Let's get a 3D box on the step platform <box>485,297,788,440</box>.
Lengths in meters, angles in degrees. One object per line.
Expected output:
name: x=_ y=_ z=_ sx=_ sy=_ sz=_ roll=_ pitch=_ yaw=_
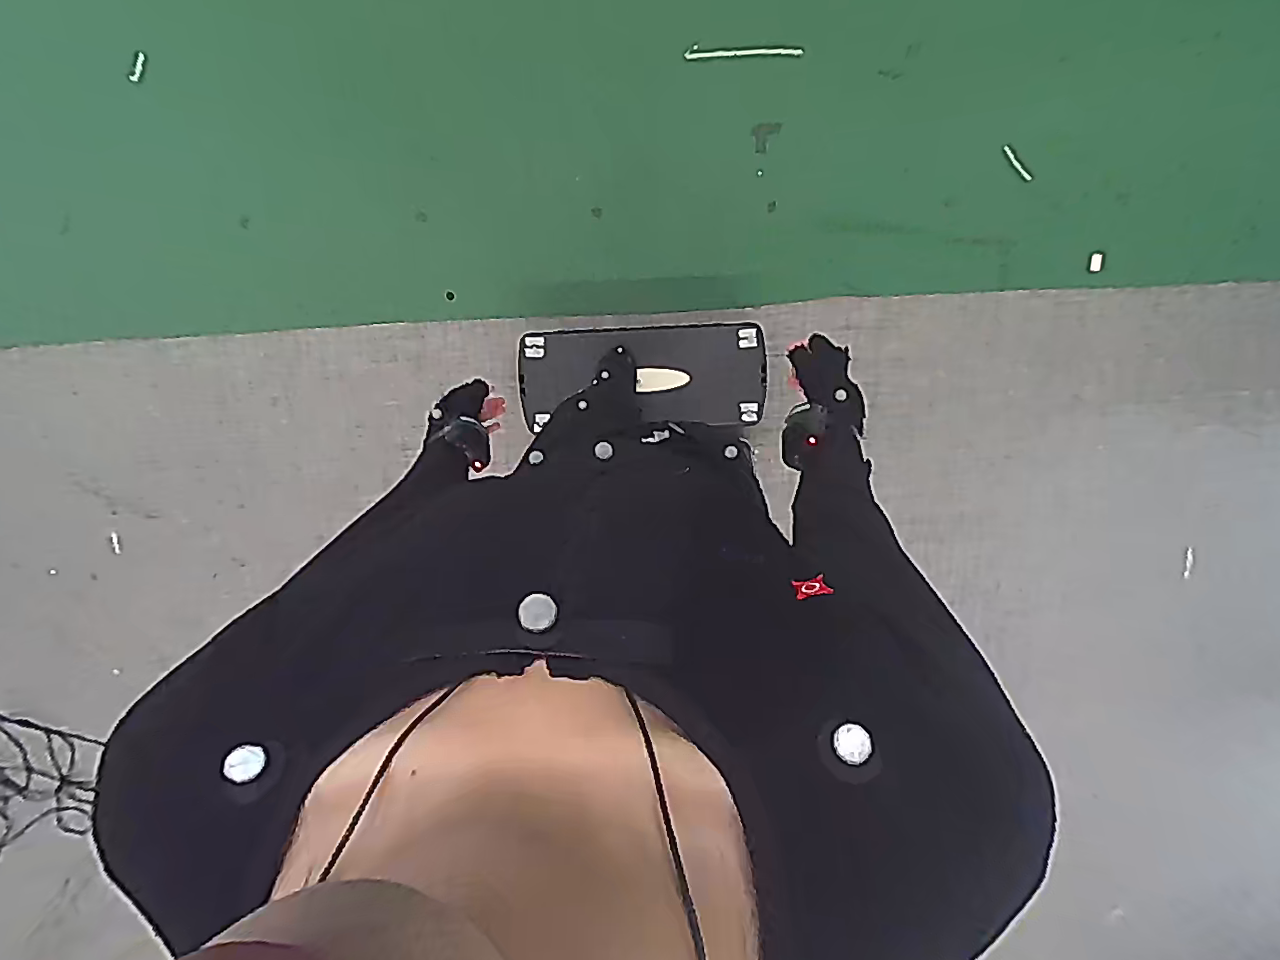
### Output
step platform: x=-0.007 y=-0.269 z=1.310 sx=0.684 sy=0.204 sz=0.286 roll=-3 pitch=103 yaw=0
